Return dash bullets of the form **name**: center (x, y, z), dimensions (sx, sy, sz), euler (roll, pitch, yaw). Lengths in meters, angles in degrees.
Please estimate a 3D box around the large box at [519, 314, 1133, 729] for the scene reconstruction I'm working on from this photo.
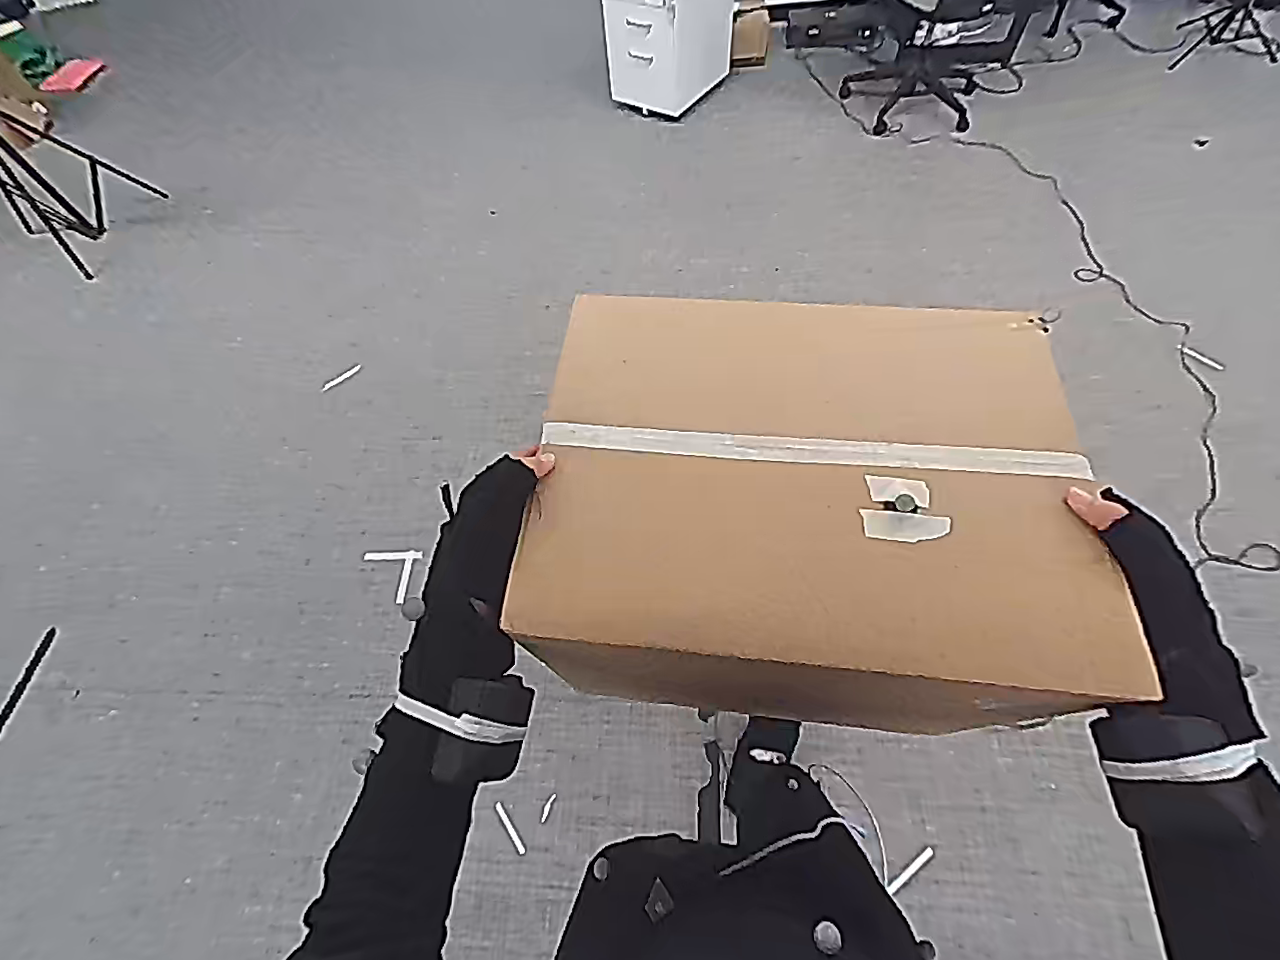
- **large box**: center (0.132, 0.059, 0.552), dimensions (0.408, 0.320, 0.320), euler (4, 63, 6)
